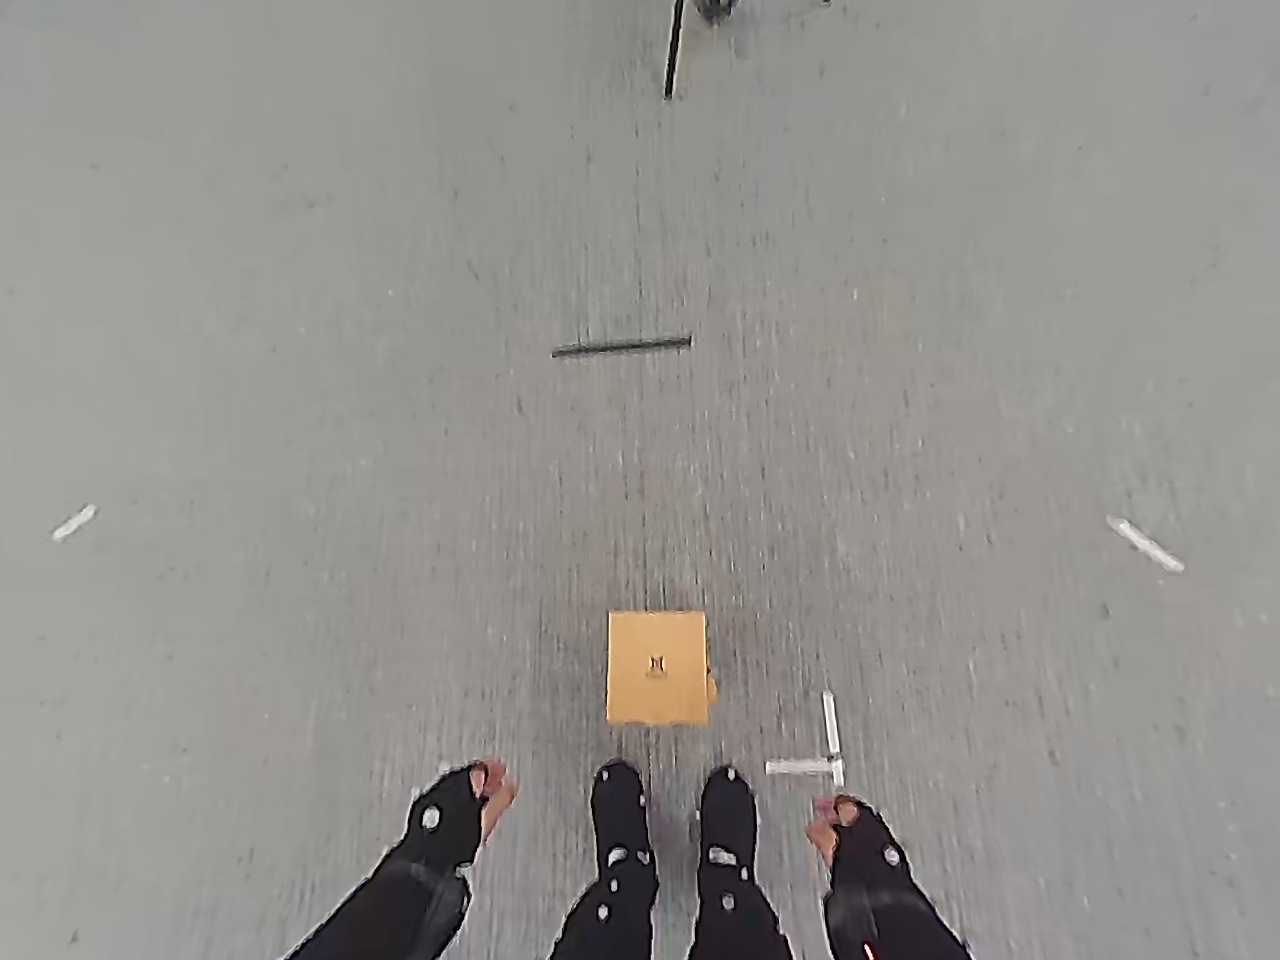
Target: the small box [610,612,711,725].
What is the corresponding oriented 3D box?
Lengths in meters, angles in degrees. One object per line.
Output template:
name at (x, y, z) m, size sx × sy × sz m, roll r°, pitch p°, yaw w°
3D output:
small box at (0.040, 0.329, 0.965) m, size 0.168 × 0.176 × 0.179 m, roll -1°, pitch 75°, yaw 5°
